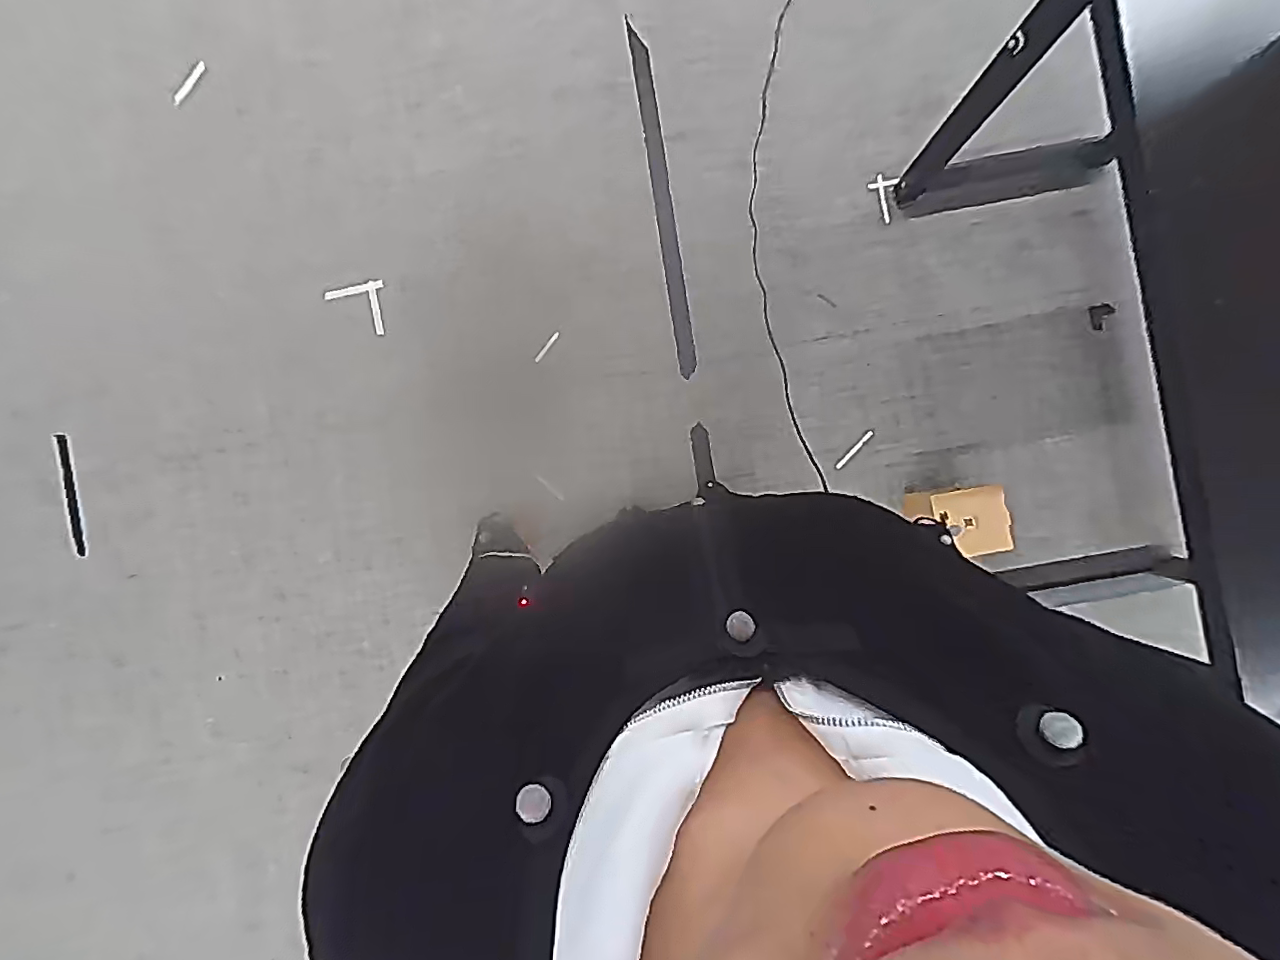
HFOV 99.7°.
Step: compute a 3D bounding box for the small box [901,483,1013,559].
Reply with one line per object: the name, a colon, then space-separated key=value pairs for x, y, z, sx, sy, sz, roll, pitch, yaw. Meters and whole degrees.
small box: x=0.809 y=0.100 z=1.394 sx=0.179 sy=0.176 sz=0.168 roll=-10 pitch=88 yaw=2
